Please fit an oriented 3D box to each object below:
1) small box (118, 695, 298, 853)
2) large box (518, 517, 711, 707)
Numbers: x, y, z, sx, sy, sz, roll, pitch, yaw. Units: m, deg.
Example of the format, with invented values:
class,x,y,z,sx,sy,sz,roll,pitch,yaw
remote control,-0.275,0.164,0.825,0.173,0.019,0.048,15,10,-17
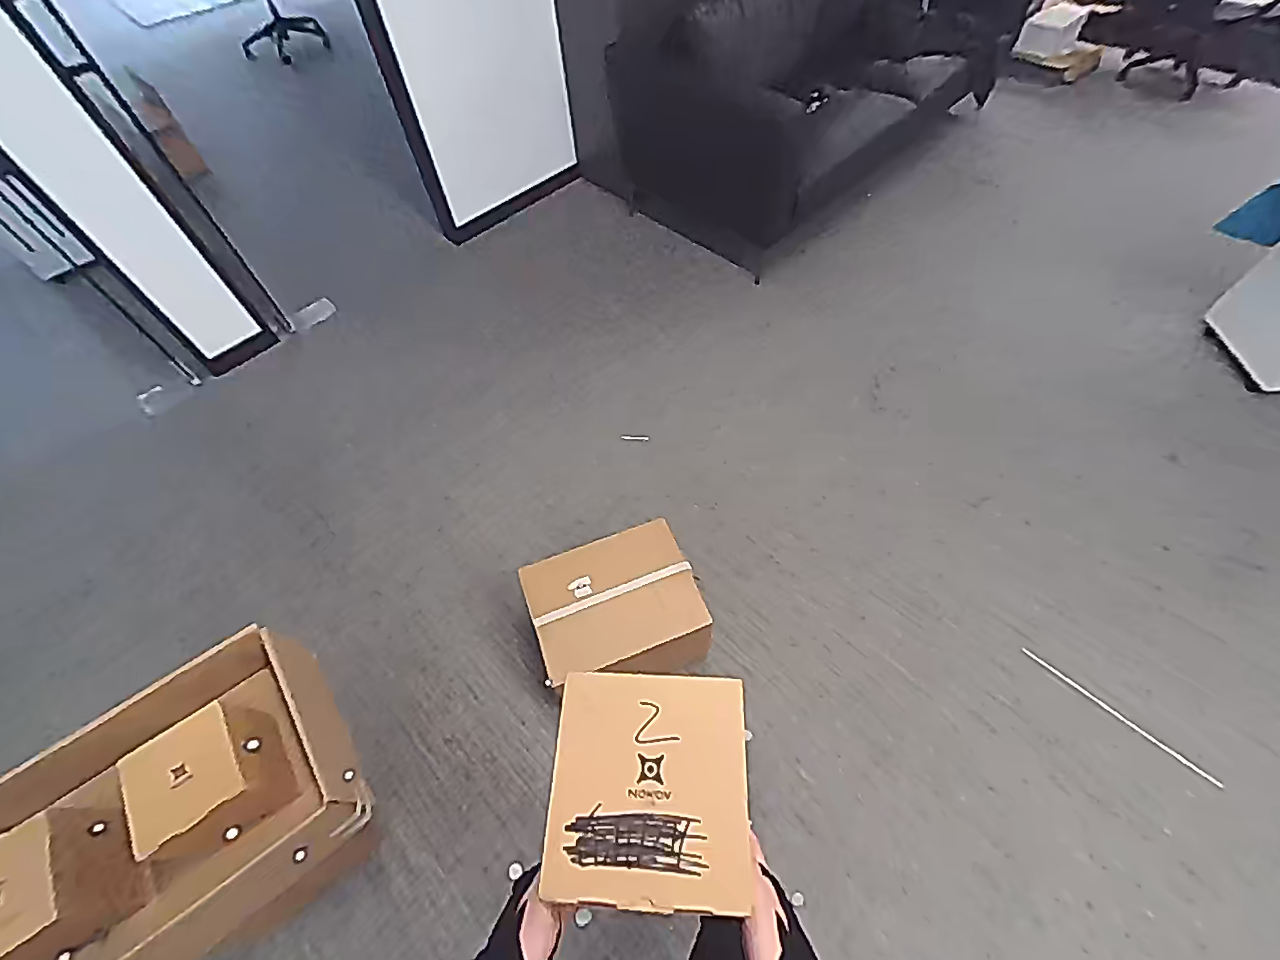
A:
class,x,y,z,sx,sy,sz,roll,pitch,yaw
small box,-0.751,0.518,0.954,0.168,0.176,0.179,-33,63,-17
large box,-0.062,0.357,1.443,0.408,0.320,0.320,-20,58,-9
